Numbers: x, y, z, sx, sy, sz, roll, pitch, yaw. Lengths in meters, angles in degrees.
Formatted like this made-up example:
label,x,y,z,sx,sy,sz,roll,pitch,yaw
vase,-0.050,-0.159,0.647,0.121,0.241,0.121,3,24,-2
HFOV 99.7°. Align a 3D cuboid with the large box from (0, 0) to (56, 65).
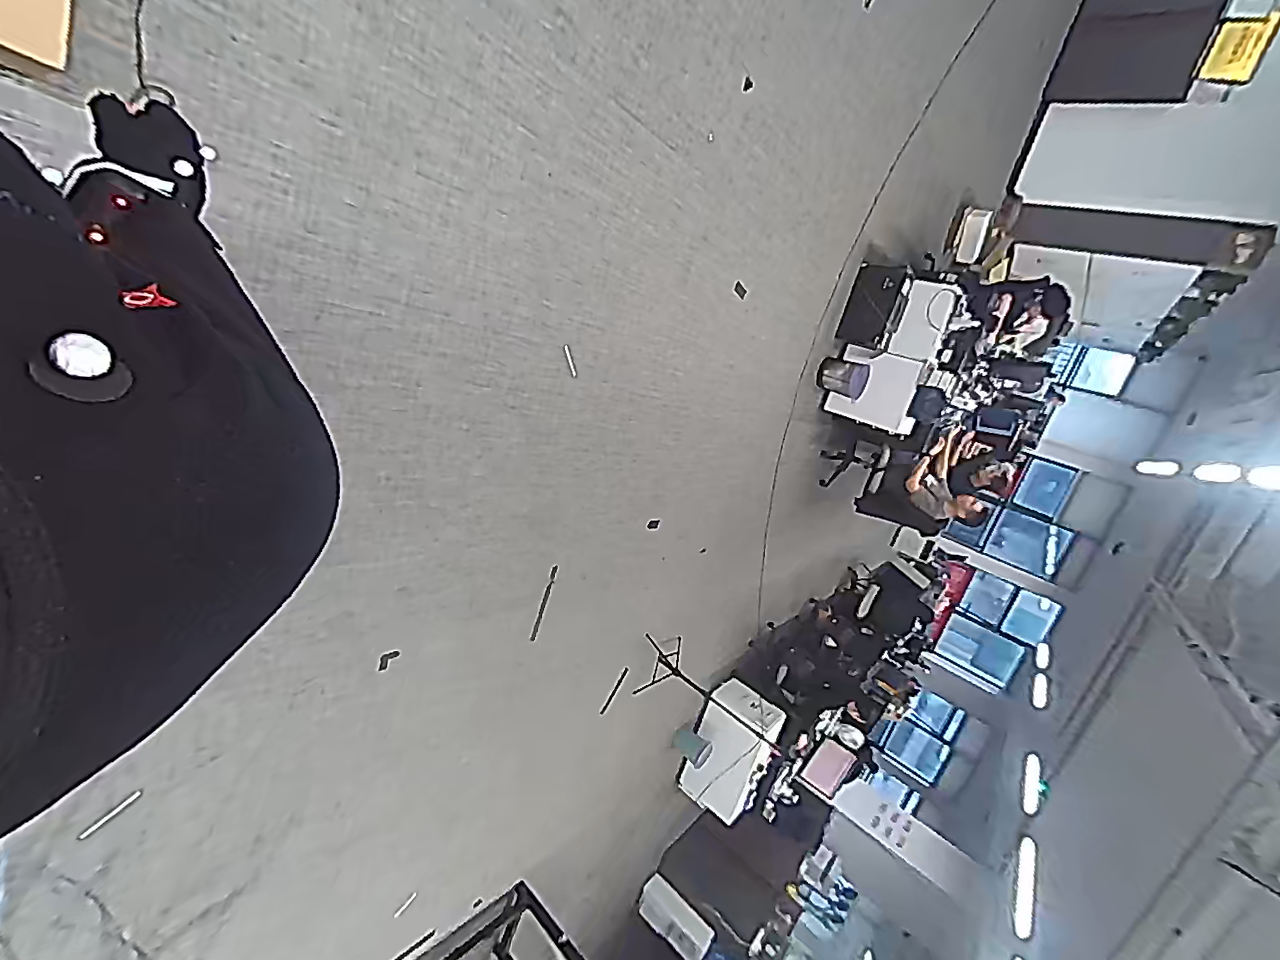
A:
label,x,y,z,sx,sy,sz,roll,pitch,yaw
large box,-0.977,-0.761,0.620,0.408,0.320,0.320,2,110,-53
